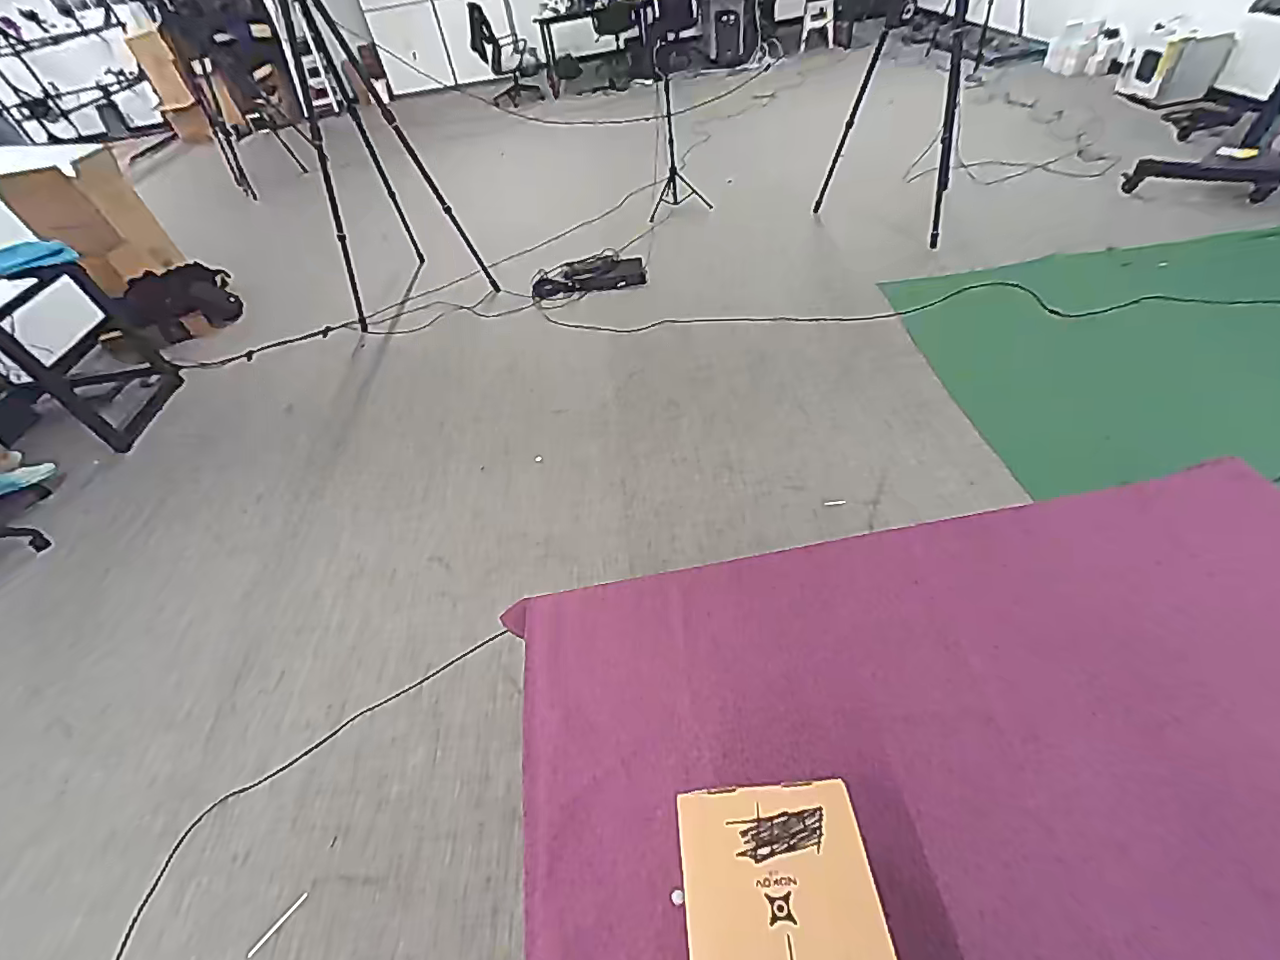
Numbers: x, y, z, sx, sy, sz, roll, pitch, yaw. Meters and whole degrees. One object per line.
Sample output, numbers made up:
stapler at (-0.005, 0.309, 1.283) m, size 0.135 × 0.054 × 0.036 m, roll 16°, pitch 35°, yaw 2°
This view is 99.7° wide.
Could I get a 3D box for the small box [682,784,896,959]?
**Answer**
small box at (0.133, 0.421, 0.521) m, size 0.168 × 0.176 × 0.179 m, roll -8°, pitch 43°, yaw 4°
